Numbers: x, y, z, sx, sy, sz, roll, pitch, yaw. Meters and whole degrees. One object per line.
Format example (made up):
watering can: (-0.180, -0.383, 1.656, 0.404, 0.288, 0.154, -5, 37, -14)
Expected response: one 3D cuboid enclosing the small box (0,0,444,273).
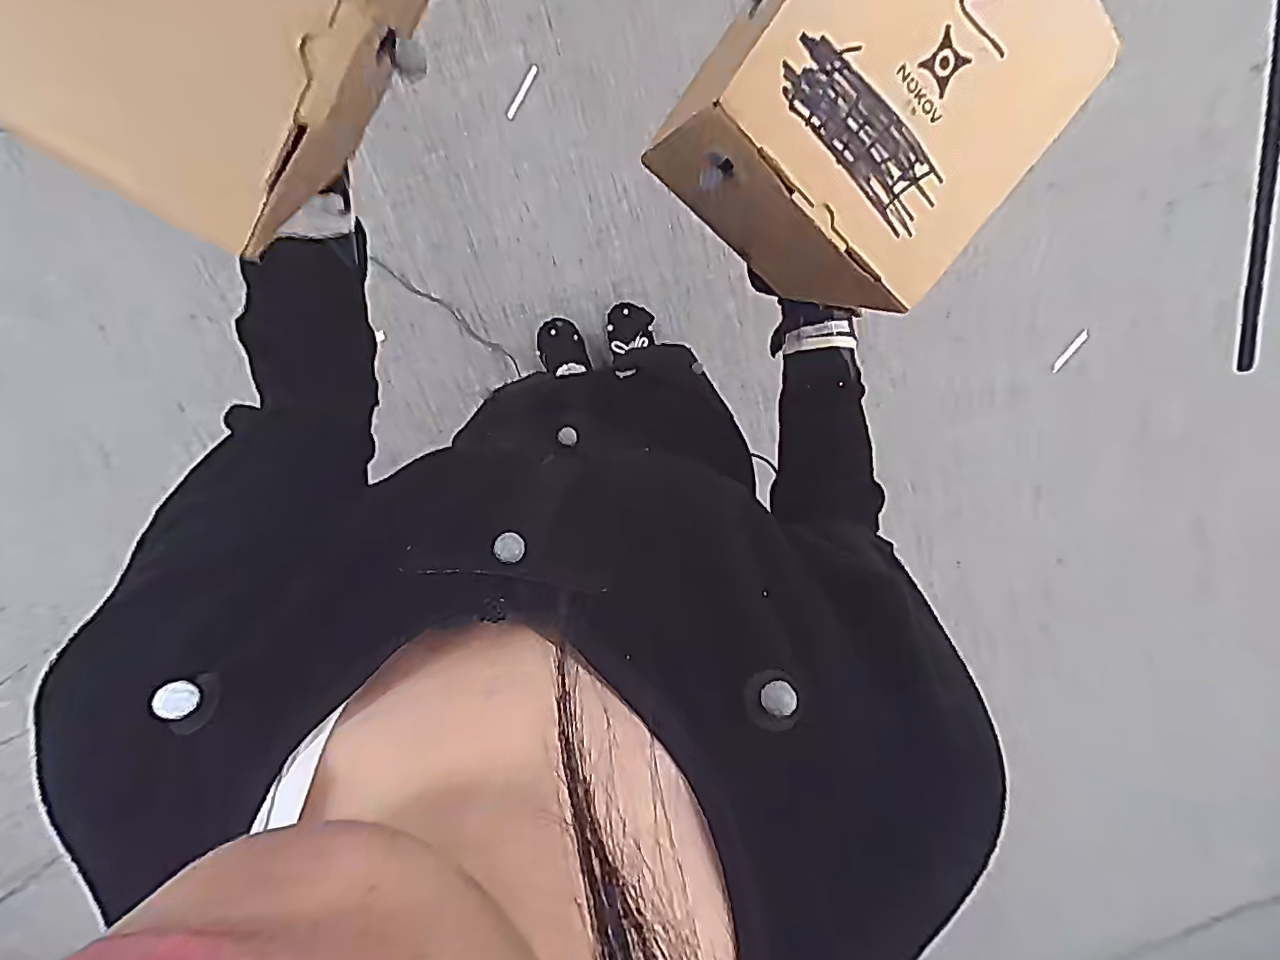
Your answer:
small box: (-0.171, -0.219, 0.193, 0.179, 0.176, 0.168, 30, 121, -31)
